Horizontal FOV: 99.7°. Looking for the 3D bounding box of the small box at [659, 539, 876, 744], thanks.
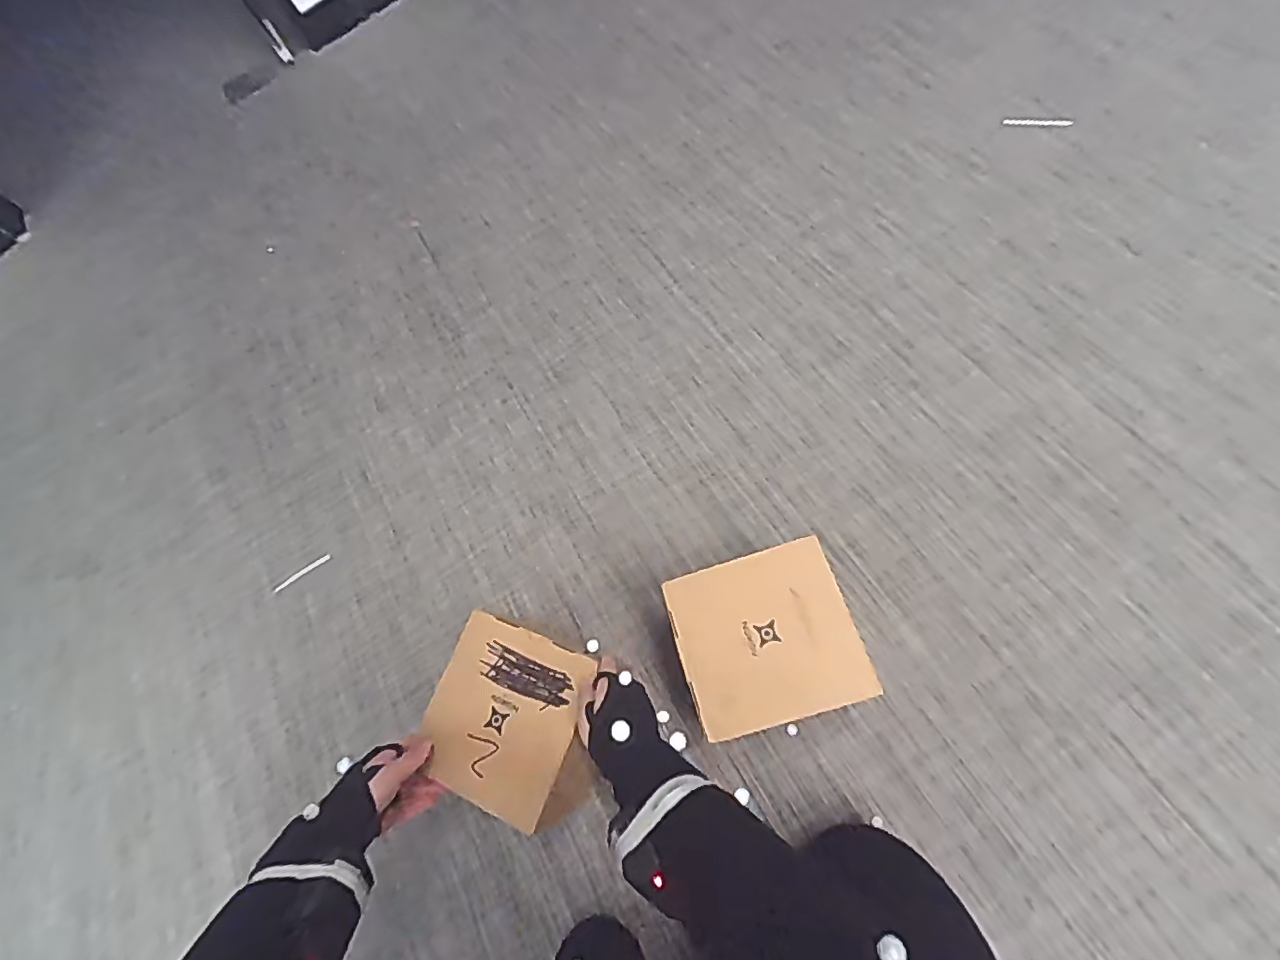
[{"bbox_3d":[0.138,0.189,0.616,0.179,0.176,0.168,-18,65,4],"label":"small box"}]
